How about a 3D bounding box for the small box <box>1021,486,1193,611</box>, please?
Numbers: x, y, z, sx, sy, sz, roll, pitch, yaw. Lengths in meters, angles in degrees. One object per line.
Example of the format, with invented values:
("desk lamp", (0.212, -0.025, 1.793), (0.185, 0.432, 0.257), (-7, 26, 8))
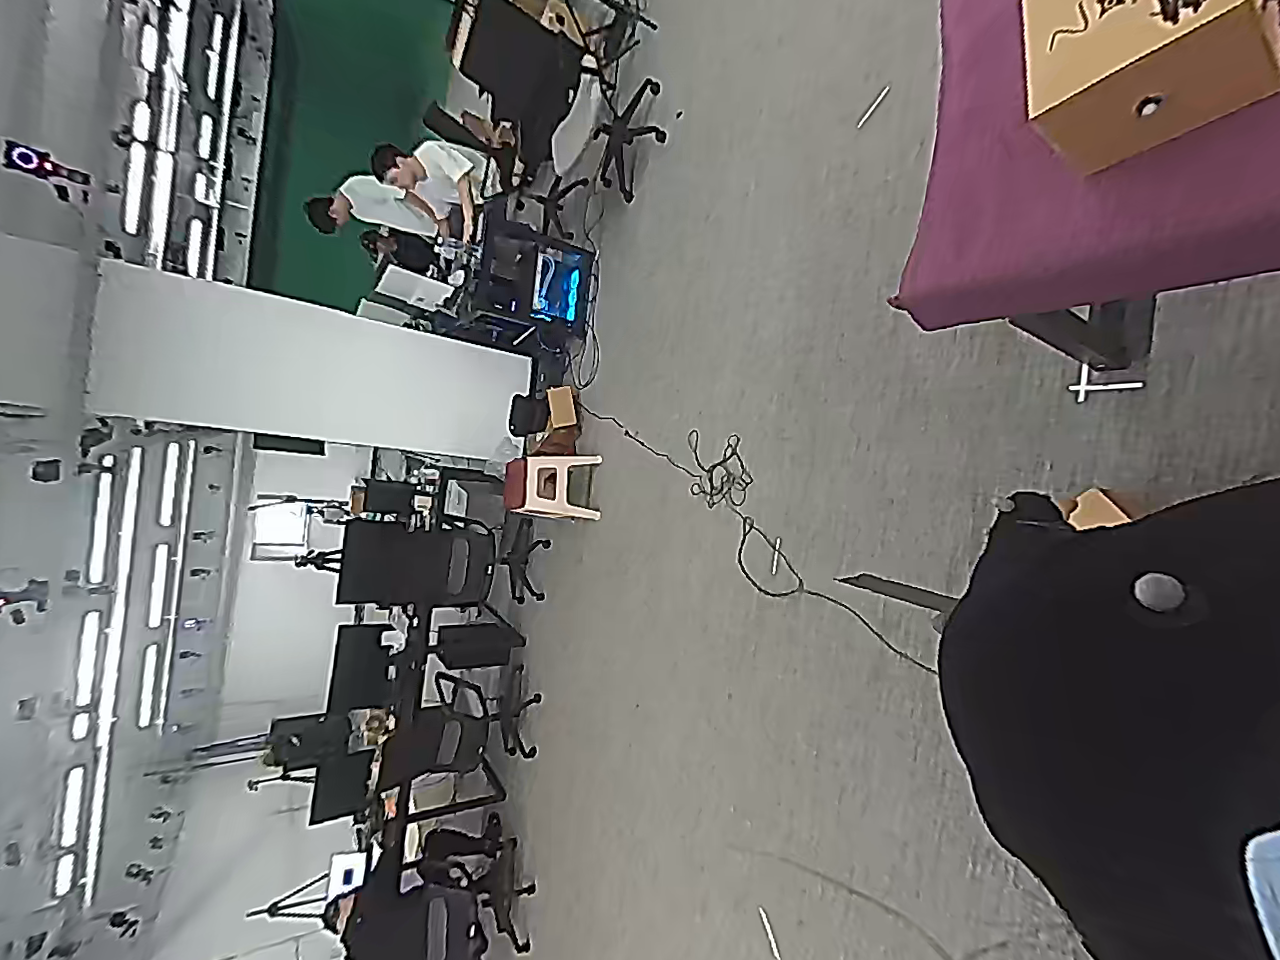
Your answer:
("small box", (0.893, 0.133, 1.032), (0.179, 0.176, 0.168), (-54, 43, 36))
